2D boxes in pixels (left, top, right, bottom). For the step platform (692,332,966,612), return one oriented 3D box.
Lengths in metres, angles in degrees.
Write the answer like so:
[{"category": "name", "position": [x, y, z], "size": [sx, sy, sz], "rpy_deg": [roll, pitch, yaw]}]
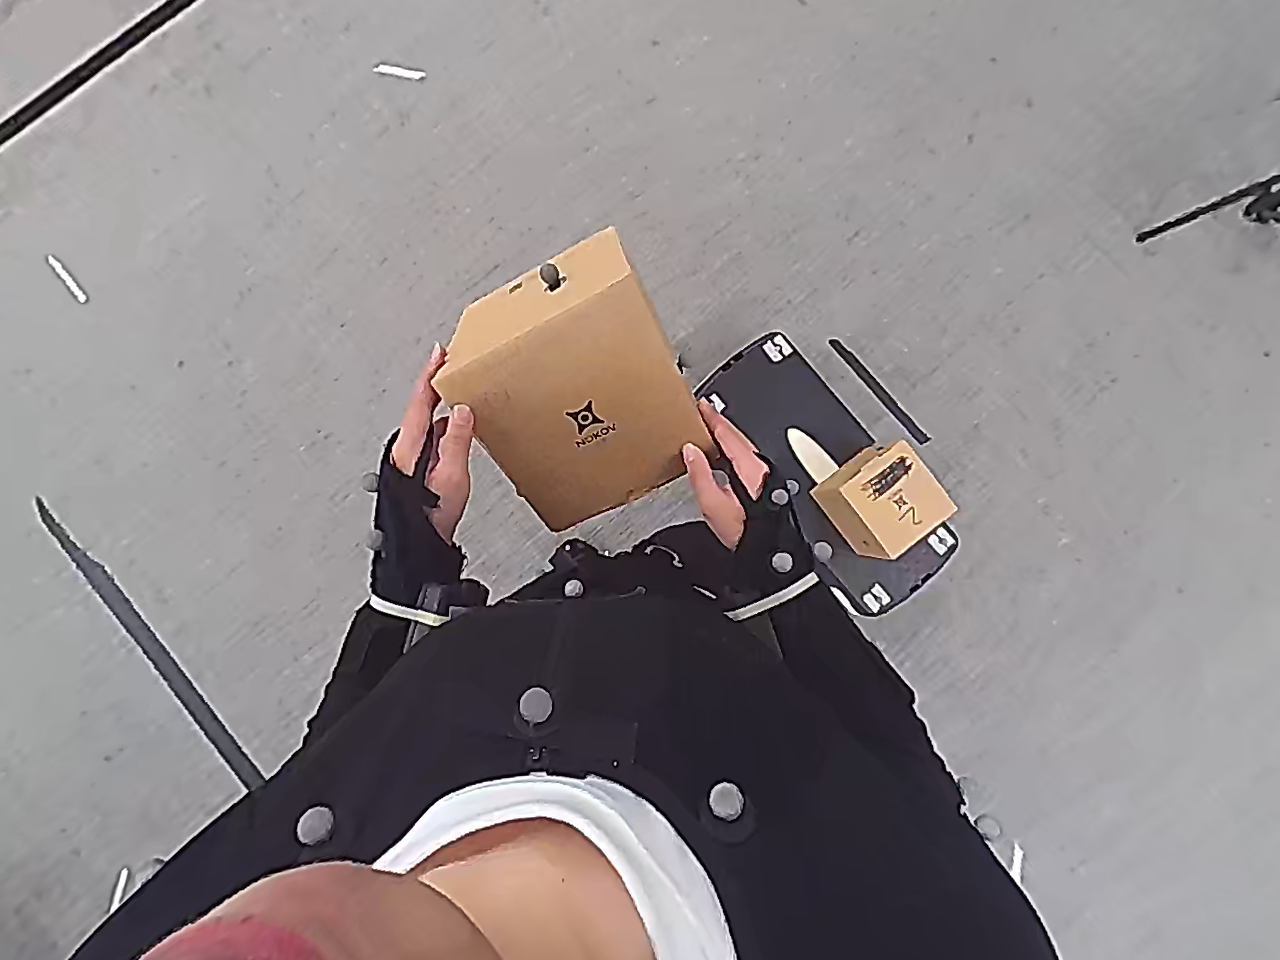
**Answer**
[{"category": "step platform", "position": [0.436, -0.018, 1.301], "size": [0.286, 0.204, 0.684], "rpy_deg": [-40, 87, -4]}]
